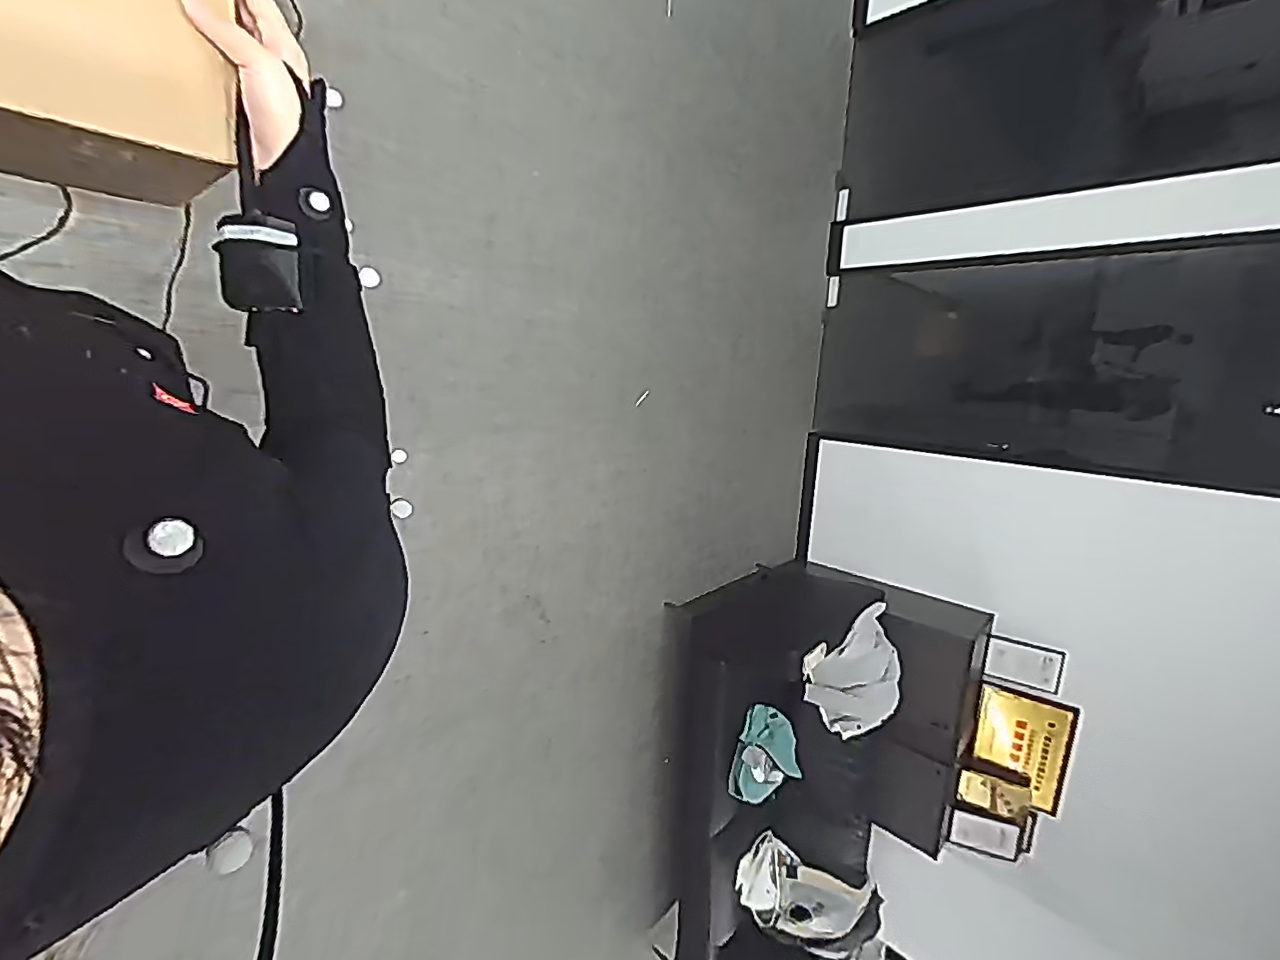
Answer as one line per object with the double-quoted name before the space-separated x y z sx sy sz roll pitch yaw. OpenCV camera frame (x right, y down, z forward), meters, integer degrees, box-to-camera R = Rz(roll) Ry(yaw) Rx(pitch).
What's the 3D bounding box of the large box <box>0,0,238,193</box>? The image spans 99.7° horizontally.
"large box" -0.529 -0.399 0.317 0.408 0.320 0.320 -9 112 -46
